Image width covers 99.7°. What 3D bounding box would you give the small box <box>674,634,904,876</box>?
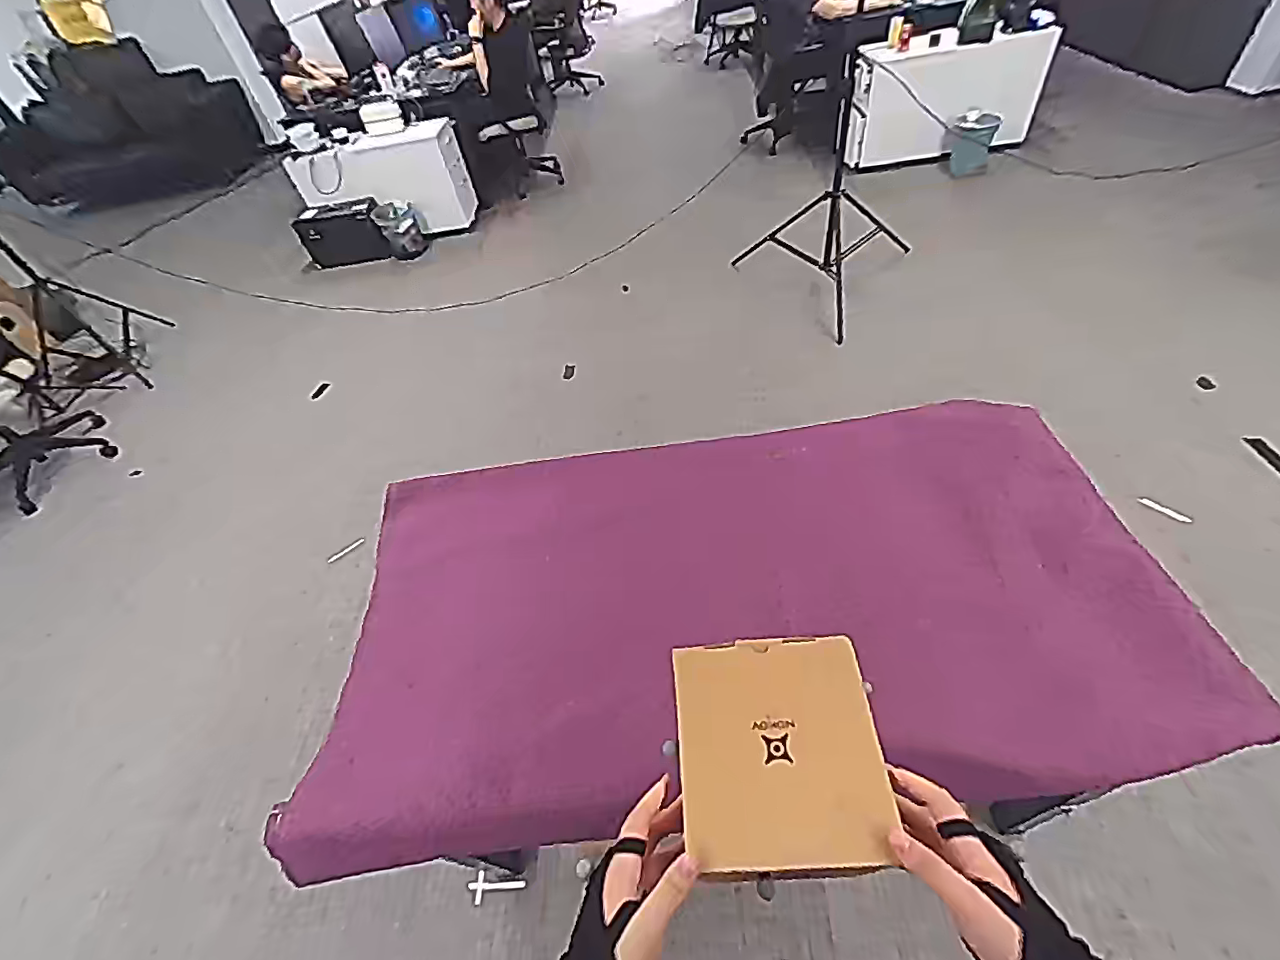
[{"bbox_3d":[0.126,0.268,0.516,0.168,0.176,0.179,-6,50,6],"label":"small box"}]
